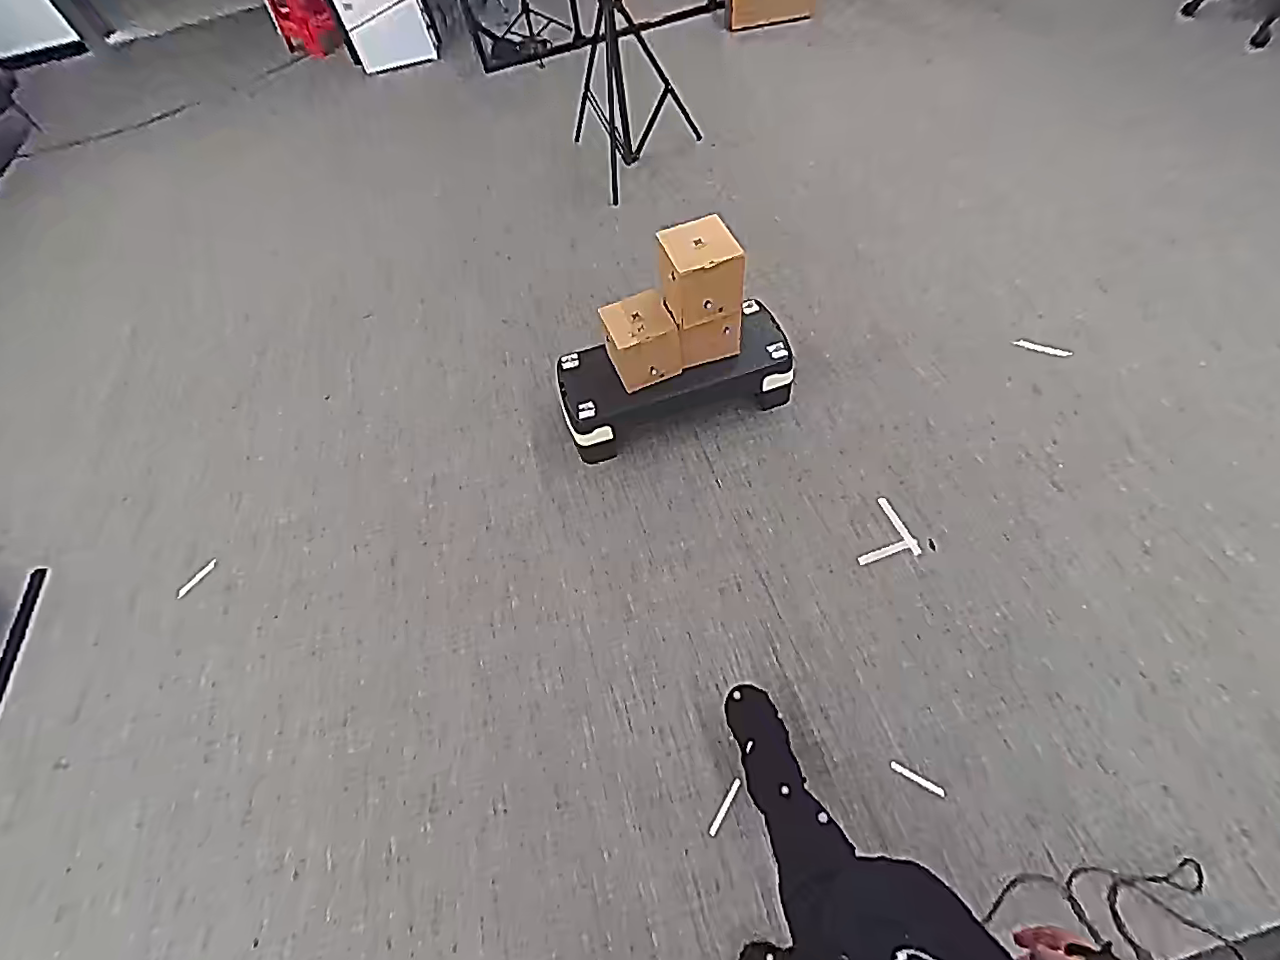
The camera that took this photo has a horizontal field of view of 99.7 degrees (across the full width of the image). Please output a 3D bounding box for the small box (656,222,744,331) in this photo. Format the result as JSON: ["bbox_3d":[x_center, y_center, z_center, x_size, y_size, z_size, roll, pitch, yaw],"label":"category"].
[{"bbox_3d":[0.147,-0.509,1.365,0.168,0.176,0.179,-19,58,-5],"label":"small box"}]

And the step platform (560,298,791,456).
[{"bbox_3d":[0.103,-0.317,1.650,0.684,0.204,0.286,-18,57,-3],"label":"step platform"}]
